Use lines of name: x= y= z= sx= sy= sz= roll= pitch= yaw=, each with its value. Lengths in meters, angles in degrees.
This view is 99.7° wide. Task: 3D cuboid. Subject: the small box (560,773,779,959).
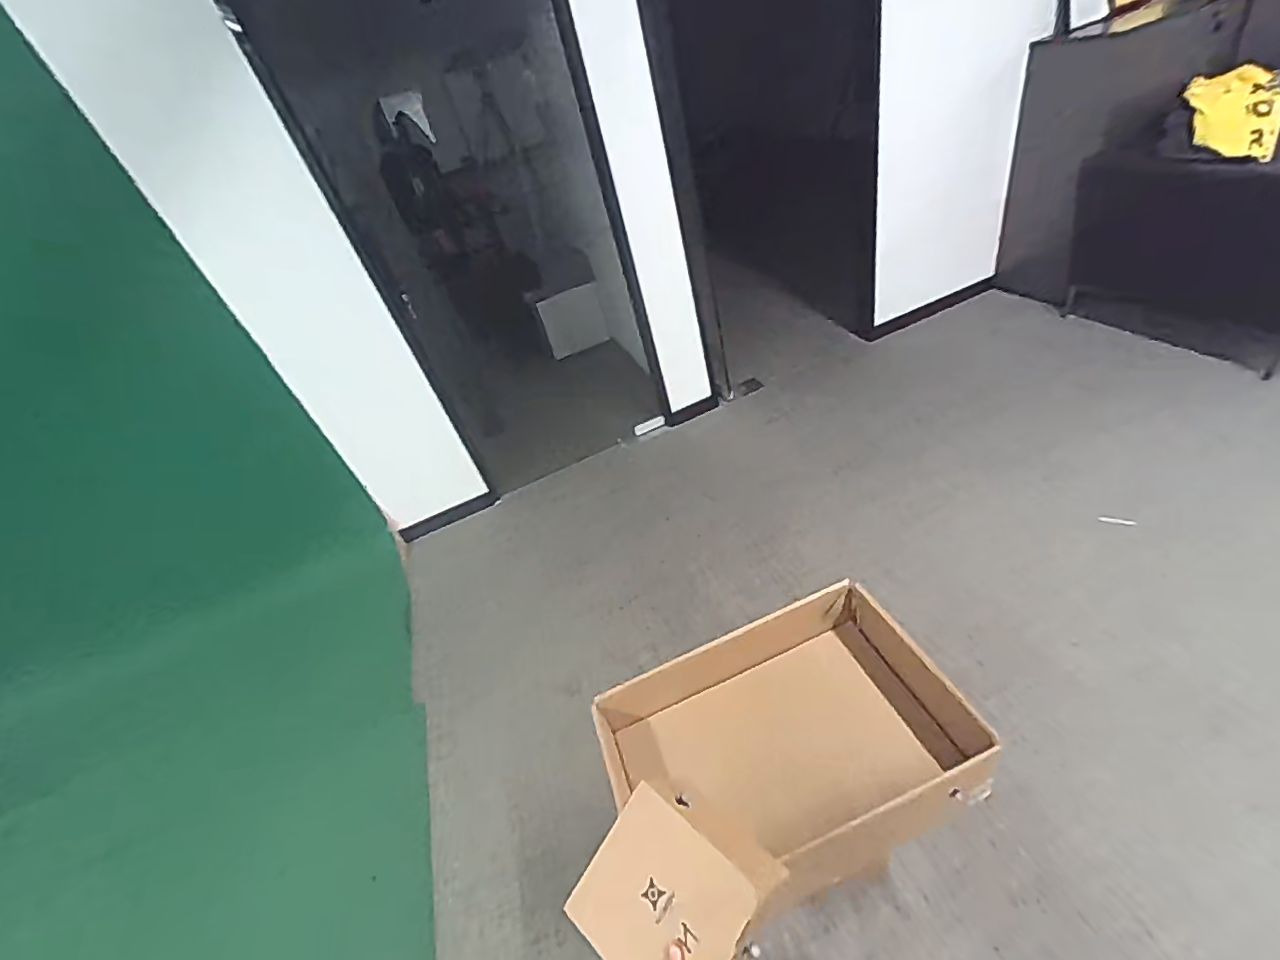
small box: x=0.044 y=0.491 z=0.654 sx=0.179 sy=0.176 sz=0.168 roll=28 pitch=76 yaw=34
